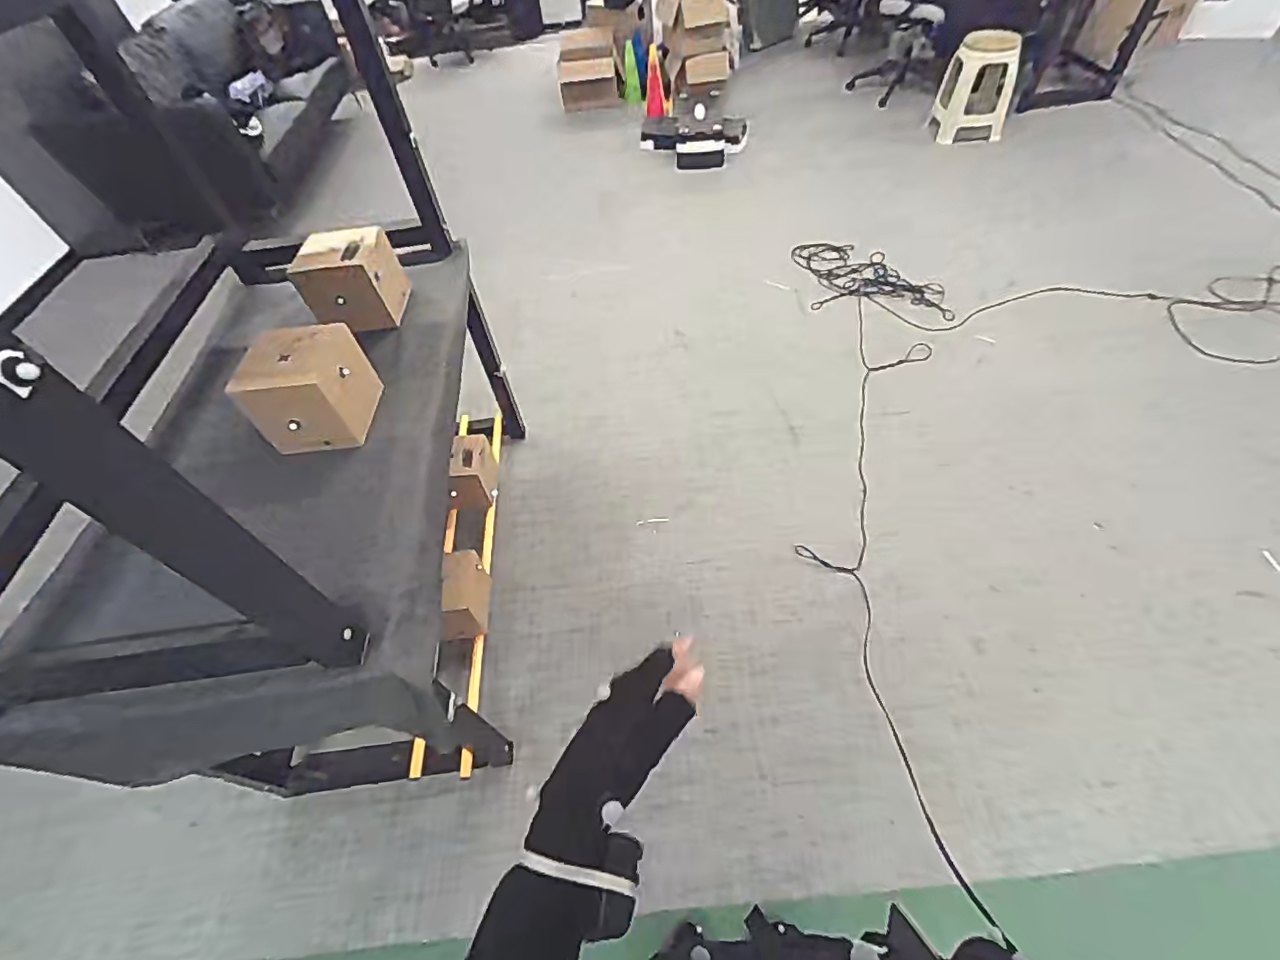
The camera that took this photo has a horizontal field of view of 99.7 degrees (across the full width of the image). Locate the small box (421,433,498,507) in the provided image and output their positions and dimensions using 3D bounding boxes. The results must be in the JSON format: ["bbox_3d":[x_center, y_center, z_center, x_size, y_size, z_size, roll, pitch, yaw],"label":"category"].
[{"bbox_3d":[-0.561,-0.030,1.706,0.179,0.176,0.168,-4,52,2],"label":"small box"}]

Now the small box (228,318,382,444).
[{"bbox_3d":[-0.626,-0.182,1.039,0.168,0.176,0.179,-5,52,2],"label":"small box"}]
